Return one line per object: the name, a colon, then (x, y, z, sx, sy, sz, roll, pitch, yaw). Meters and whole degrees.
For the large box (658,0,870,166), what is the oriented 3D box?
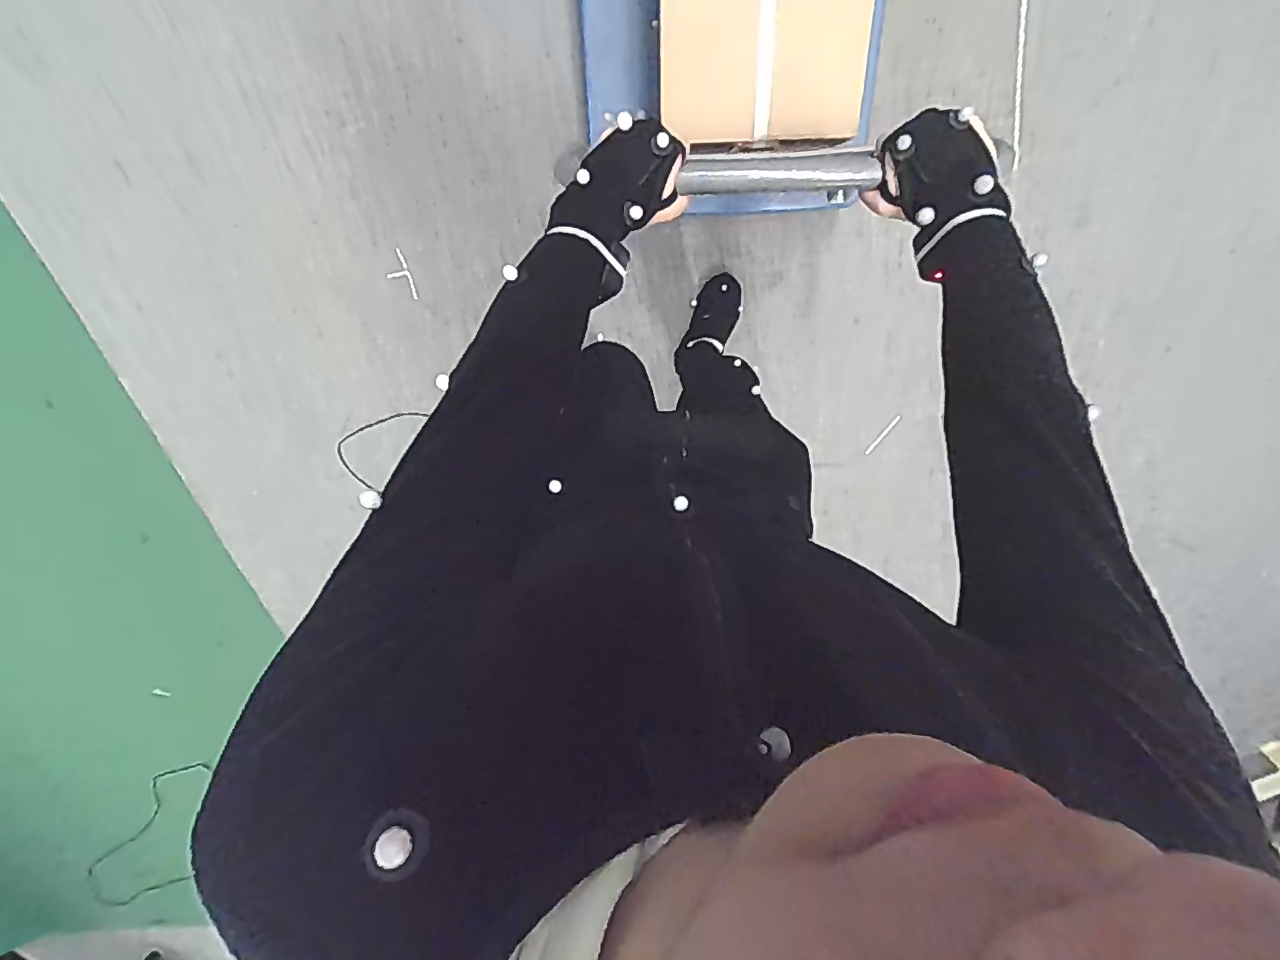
large box: (0.191, -0.790, 0.923, 0.320, 0.320, 0.408, 0, 114, 3)
